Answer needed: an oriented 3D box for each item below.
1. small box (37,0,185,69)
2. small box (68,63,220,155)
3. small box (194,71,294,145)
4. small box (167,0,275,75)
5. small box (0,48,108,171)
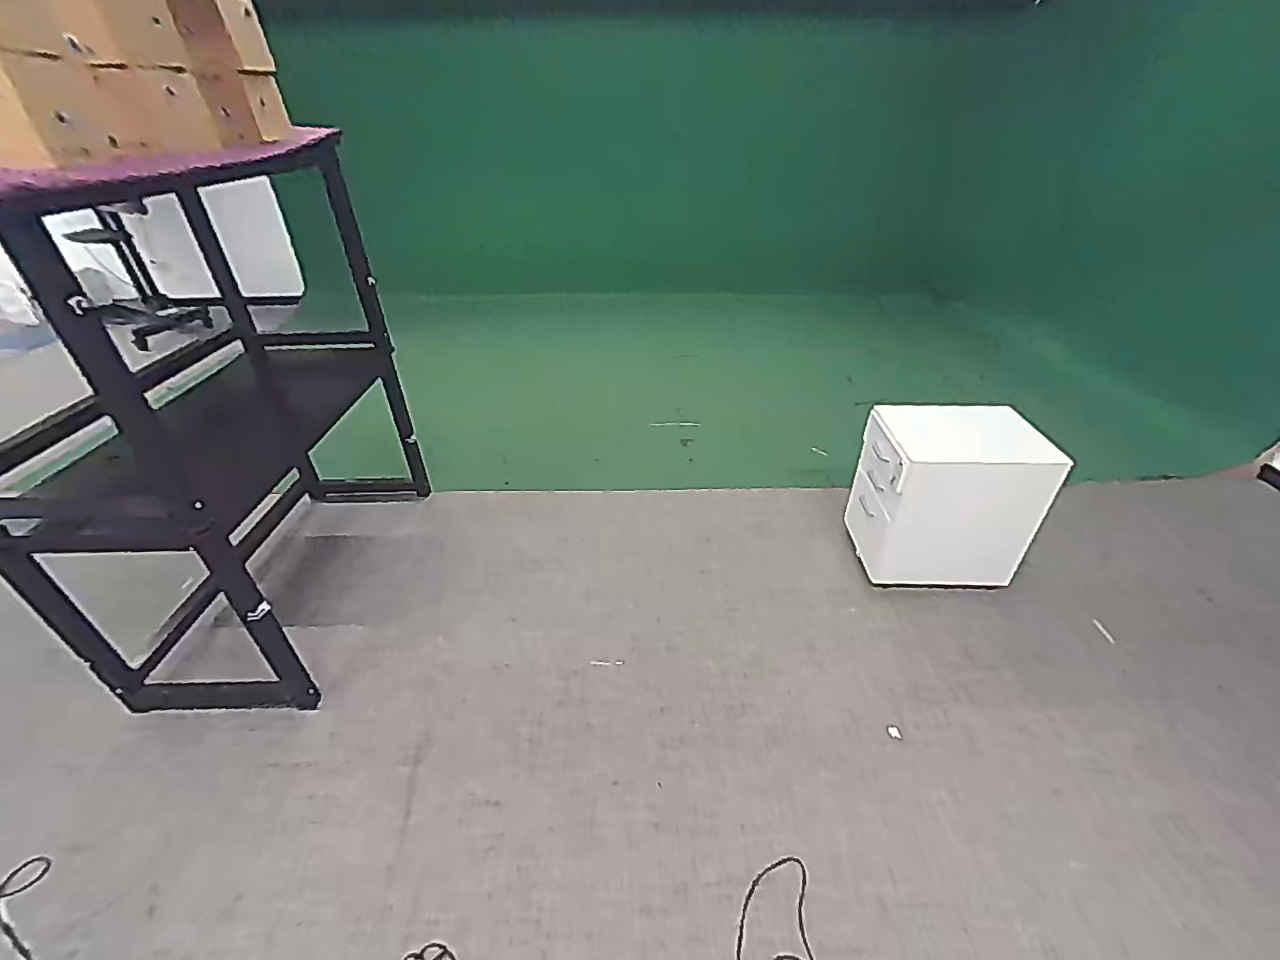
[{"bbox_3d":[-1.147,-0.997,1.173,0.168,0.176,0.179,5,36,10],"label":"small box"},{"bbox_3d":[-1.146,-0.866,1.269,0.168,0.176,0.179,0,34,1],"label":"small box"},{"bbox_3d":[-1.157,-1.085,1.579,0.168,0.176,0.179,-2,37,2],"label":"small box"},{"bbox_3d":[-1.152,-1.218,1.484,0.168,0.176,0.179,-2,36,2],"label":"small box"},{"bbox_3d":[-1.104,-0.642,0.943,0.179,0.176,0.168,-7,34,-10],"label":"small box"}]
